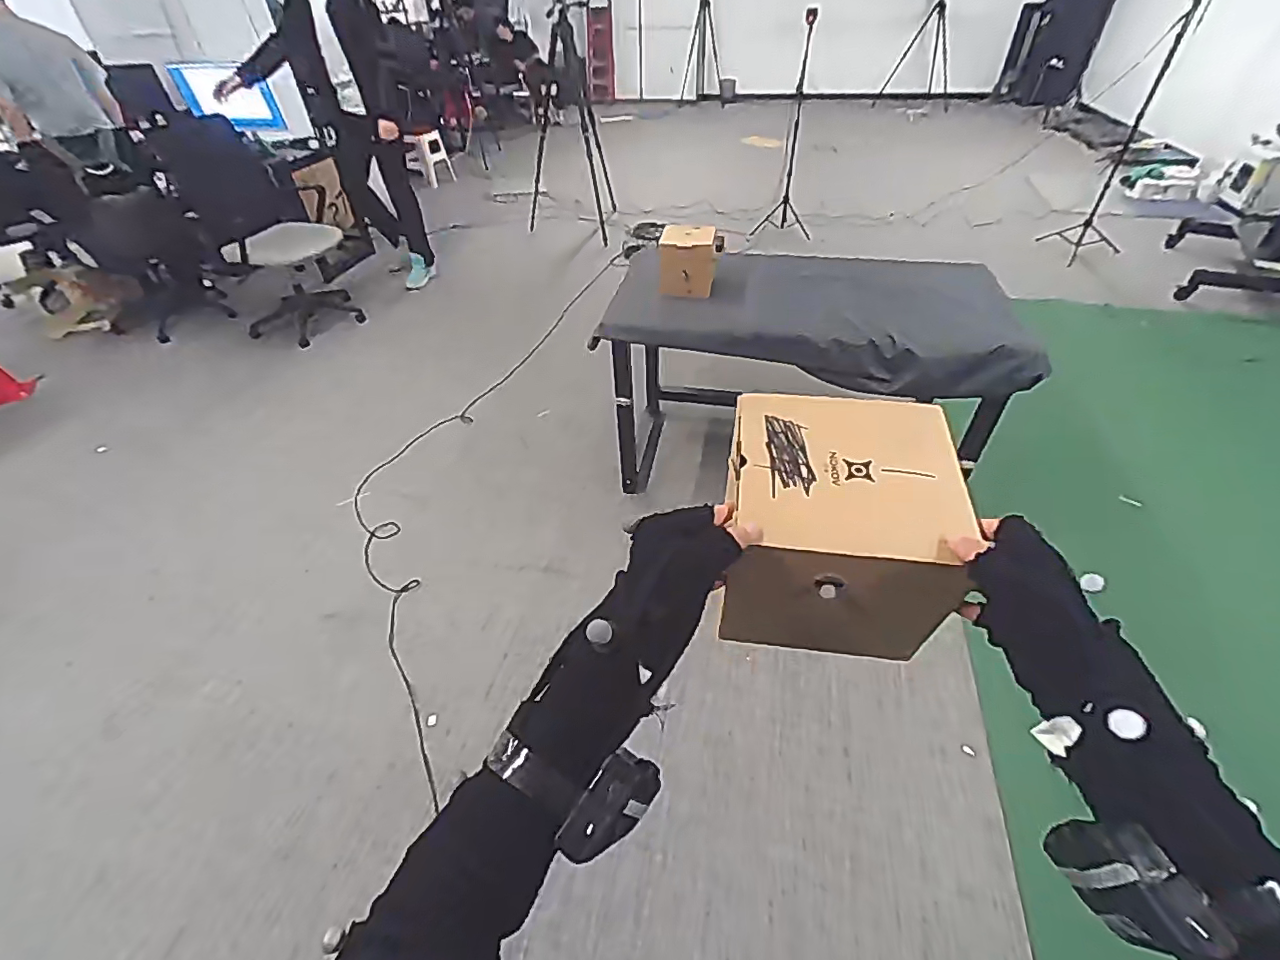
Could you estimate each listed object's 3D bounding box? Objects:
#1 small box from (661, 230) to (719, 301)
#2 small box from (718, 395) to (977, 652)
[{"bbox_3d":[0.163,-0.696,1.753,0.168,0.176,0.179,6,44,10],"label":"small box"},{"bbox_3d":[0.166,0.043,0.497,0.179,0.176,0.168,5,51,7],"label":"small box"}]
